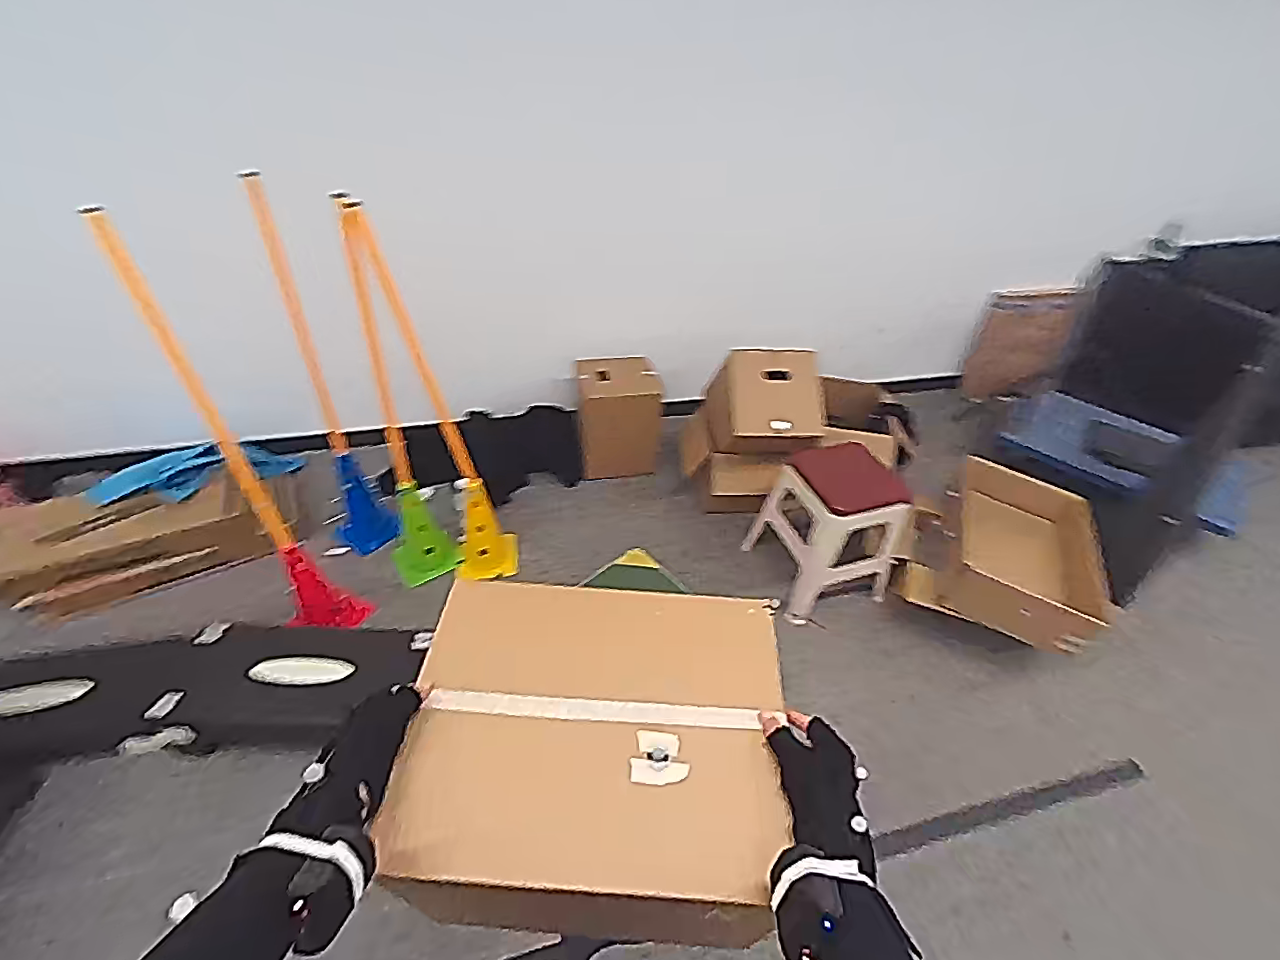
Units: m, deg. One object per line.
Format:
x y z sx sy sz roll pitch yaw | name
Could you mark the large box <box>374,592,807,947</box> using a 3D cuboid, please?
-0.046 0.370 0.696 0.408 0.320 0.320 4 44 1 | large box
